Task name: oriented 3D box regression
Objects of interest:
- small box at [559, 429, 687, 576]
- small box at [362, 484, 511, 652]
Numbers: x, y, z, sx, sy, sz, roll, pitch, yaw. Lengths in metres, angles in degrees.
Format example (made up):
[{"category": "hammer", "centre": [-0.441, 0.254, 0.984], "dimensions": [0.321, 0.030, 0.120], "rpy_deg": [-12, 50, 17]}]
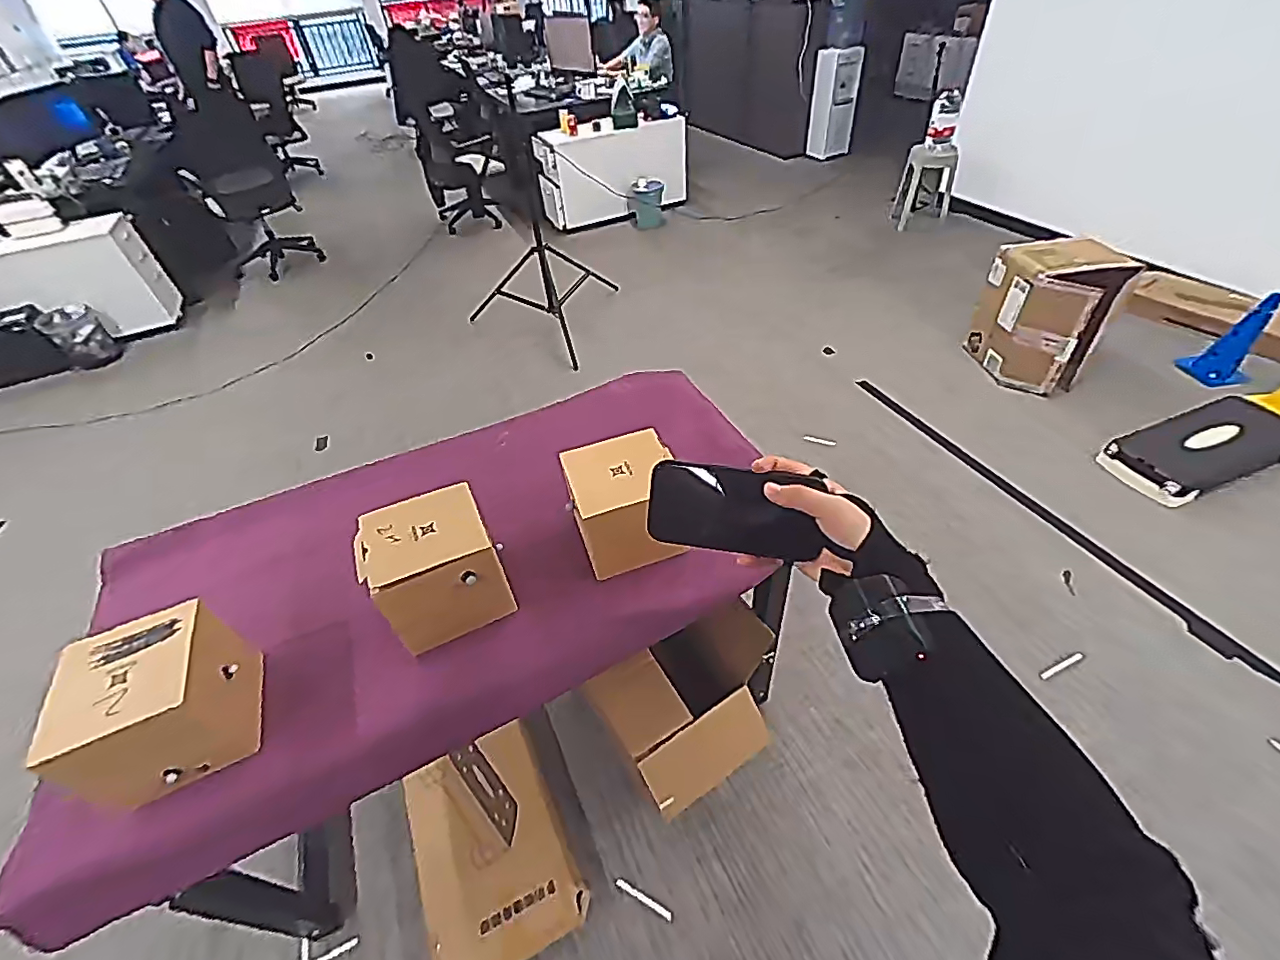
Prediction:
[{"category": "small box", "centre": [-0.027, 0.042, 0.945], "dimensions": [0.179, 0.176, 0.168], "rpy_deg": [-17, 45, -11]}, {"category": "small box", "centre": [-0.321, 0.142, 0.875], "dimensions": [0.179, 0.176, 0.168], "rpy_deg": [-22, 44, -16]}]
